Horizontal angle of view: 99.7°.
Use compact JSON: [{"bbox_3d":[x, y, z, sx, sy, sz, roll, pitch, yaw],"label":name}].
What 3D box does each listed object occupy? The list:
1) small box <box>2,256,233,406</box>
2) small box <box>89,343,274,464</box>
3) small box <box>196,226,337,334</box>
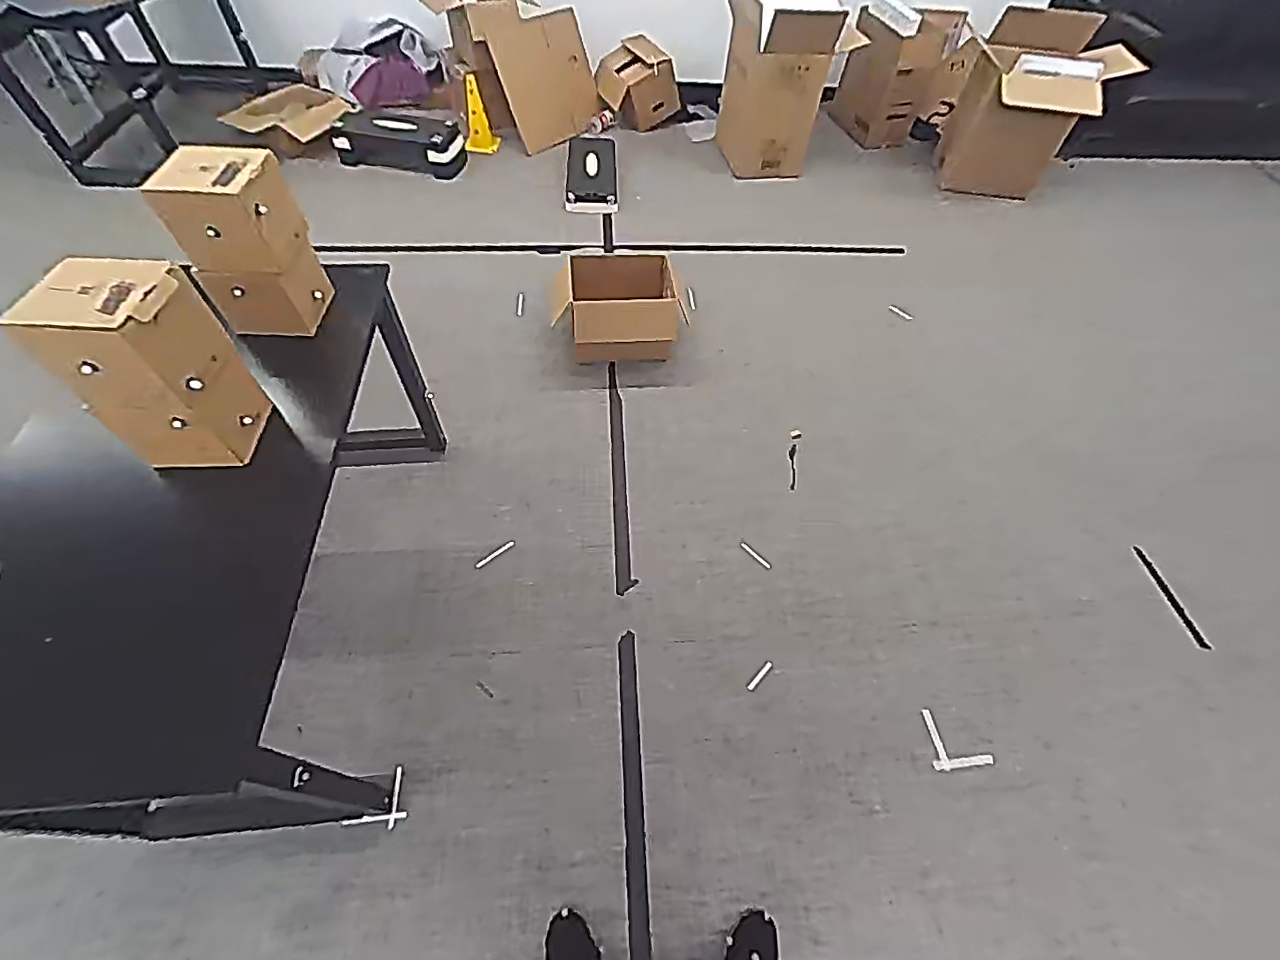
[{"bbox_3d":[-0.819,-0.236,0.877,0.179,0.176,0.168,3,55,-1],"label":"small box"},{"bbox_3d":[-0.836,-0.141,1.010,0.179,0.176,0.168,-2,56,-5],"label":"small box"},{"bbox_3d":[-0.827,-0.447,1.218,0.179,0.176,0.168,2,56,-2],"label":"small box"}]
